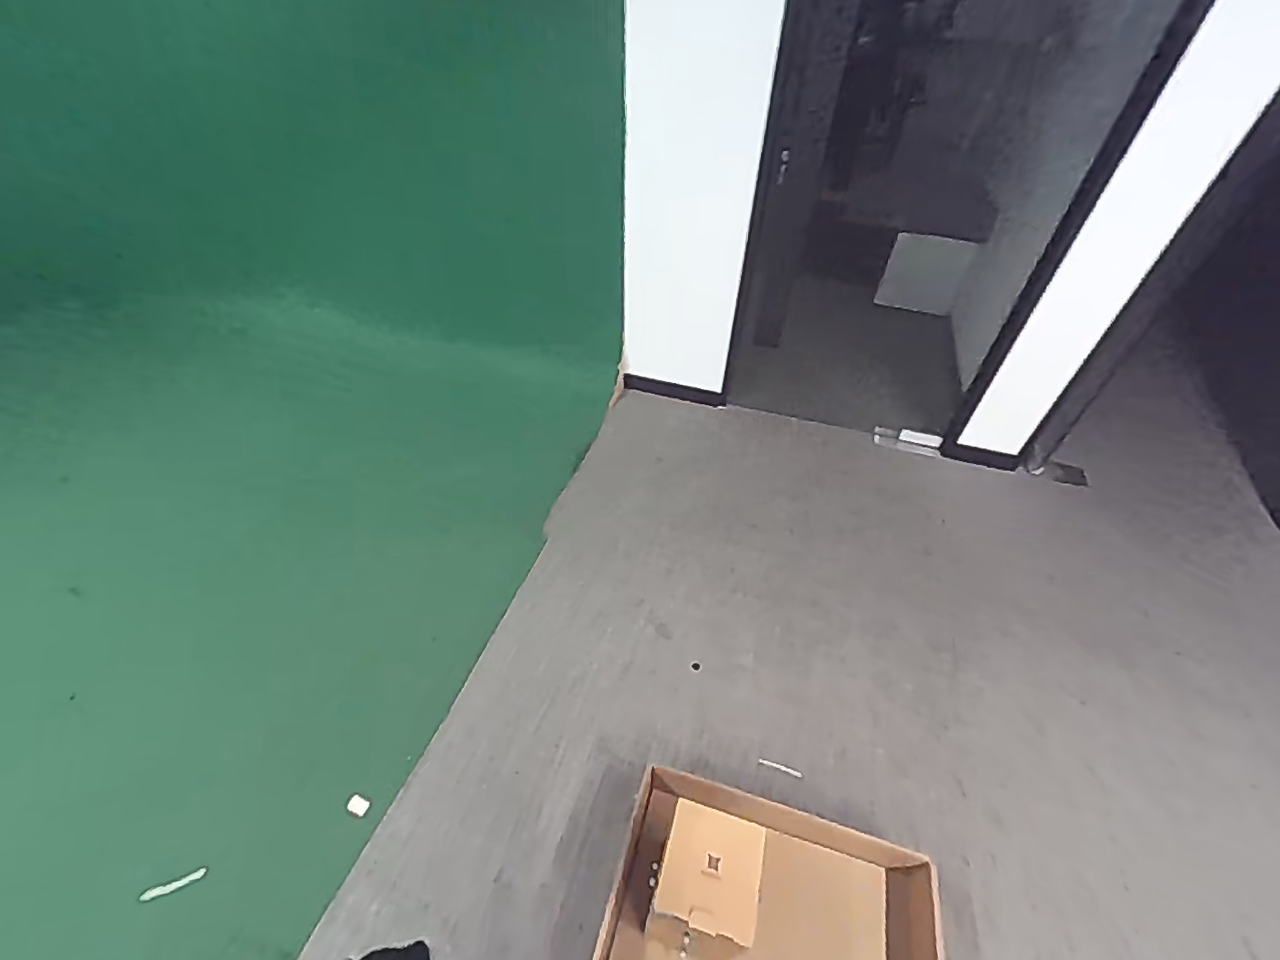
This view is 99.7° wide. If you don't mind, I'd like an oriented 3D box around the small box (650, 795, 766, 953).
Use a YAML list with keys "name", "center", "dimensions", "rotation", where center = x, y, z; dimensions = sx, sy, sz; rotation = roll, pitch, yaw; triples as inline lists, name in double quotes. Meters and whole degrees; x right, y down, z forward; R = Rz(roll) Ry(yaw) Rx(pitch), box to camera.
- name: "small box"
  center: [0.119, 0.713, 0.977]
  dimensions: [0.168, 0.176, 0.179]
  rotation: [14, 46, 10]

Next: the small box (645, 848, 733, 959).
- name: "small box"
  center: [0.111, 0.829, 1.091]
  dimensions: [0.168, 0.176, 0.179]
  rotation: [15, 46, 12]
